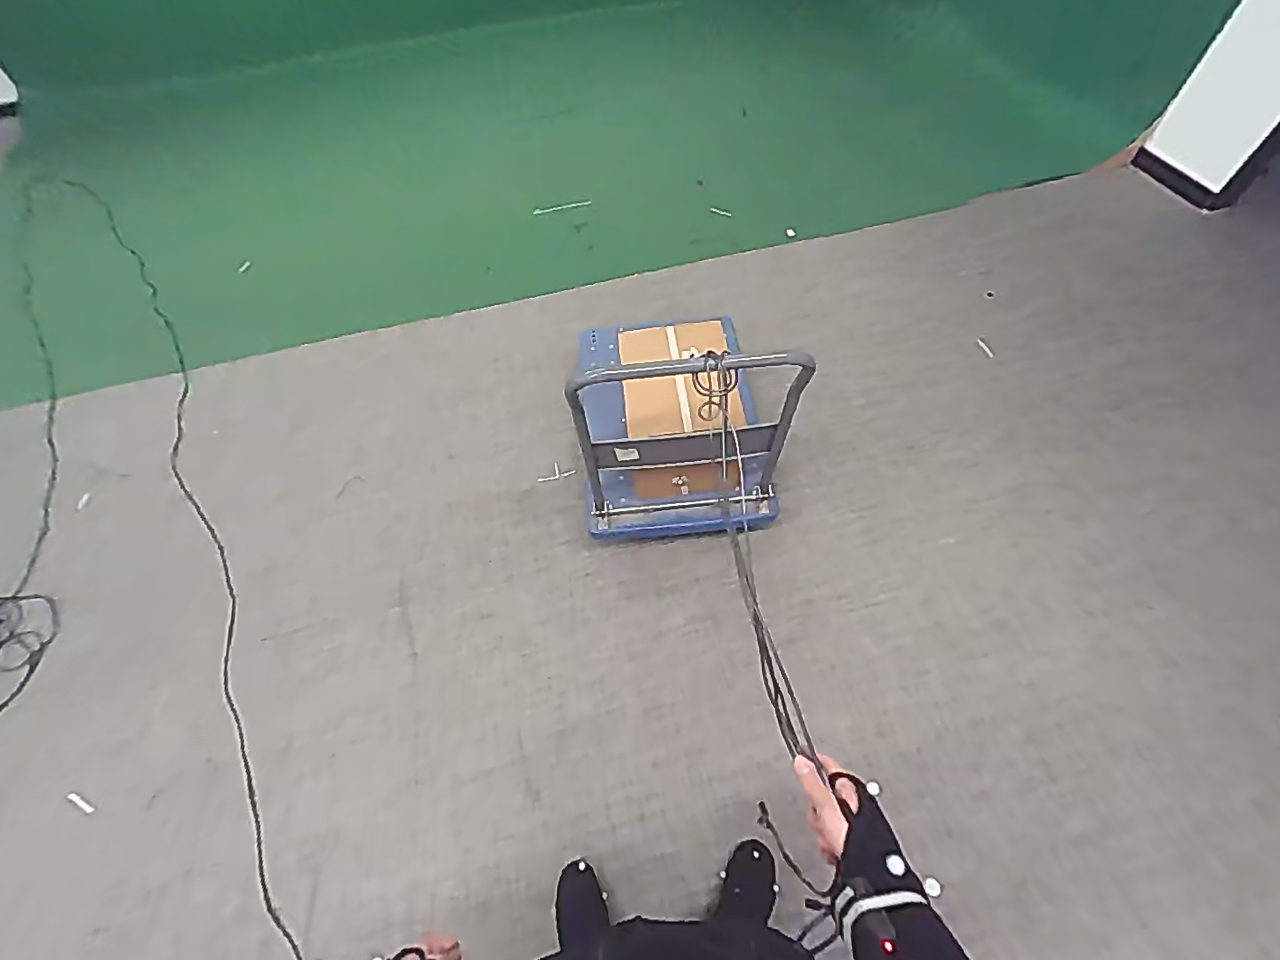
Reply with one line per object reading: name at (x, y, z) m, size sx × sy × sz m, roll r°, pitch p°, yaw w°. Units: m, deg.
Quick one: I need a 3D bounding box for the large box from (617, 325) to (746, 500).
large box at (0.115, -0.197, 1.626) m, size 0.320 × 0.320 × 0.408 m, roll -6°, pitch 56°, yaw 0°
